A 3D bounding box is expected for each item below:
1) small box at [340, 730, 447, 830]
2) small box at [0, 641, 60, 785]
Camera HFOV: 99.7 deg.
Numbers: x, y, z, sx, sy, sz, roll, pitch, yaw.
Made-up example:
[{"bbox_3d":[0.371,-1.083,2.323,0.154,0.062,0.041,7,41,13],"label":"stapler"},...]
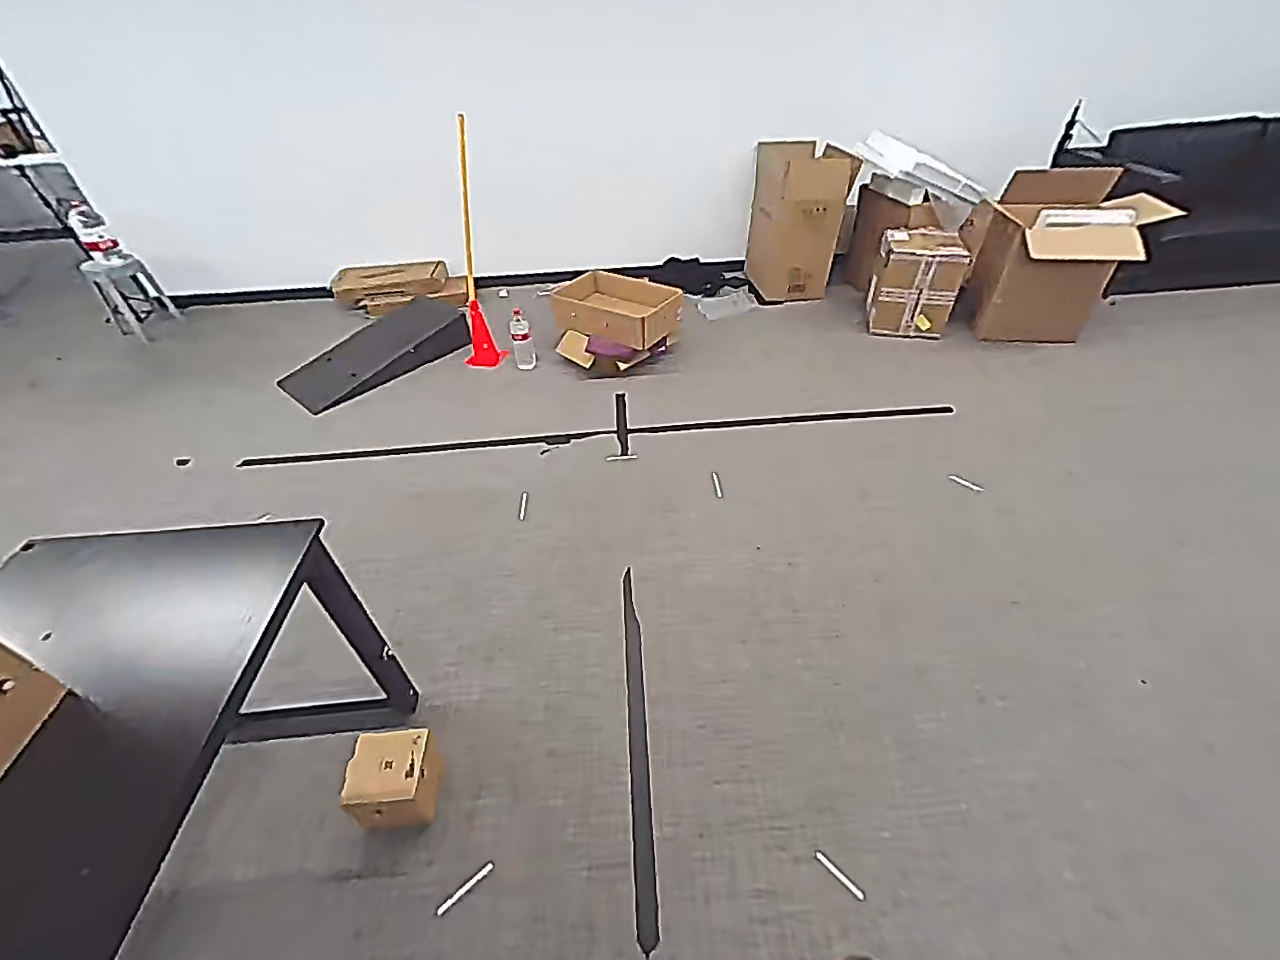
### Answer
[{"bbox_3d":[-0.605,0.752,1.351,0.179,0.176,0.168,-5,42,-2],"label":"small box"},{"bbox_3d":[-0.981,0.338,0.743,0.168,0.176,0.179,-5,42,0],"label":"small box"}]
